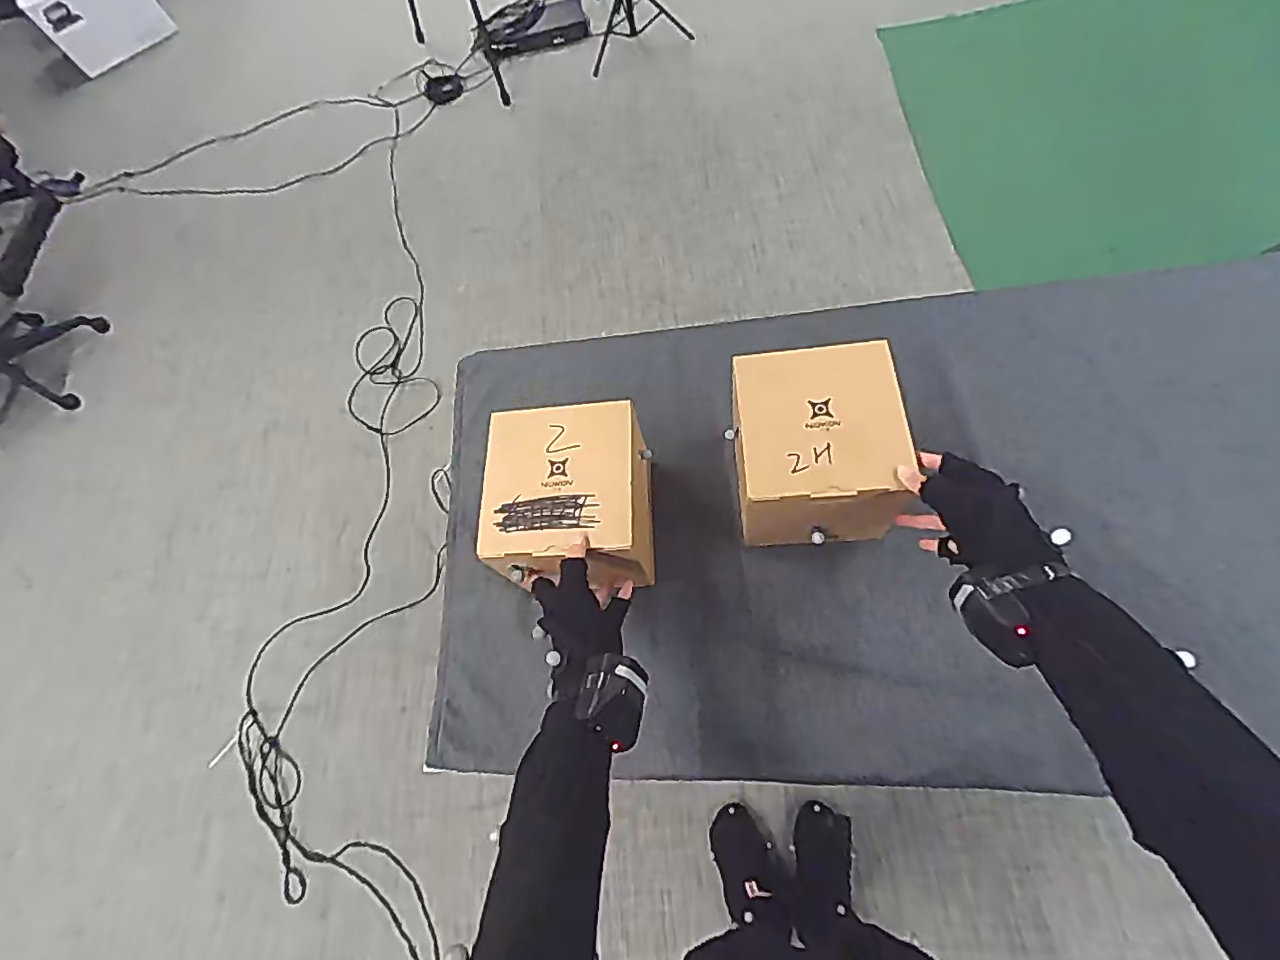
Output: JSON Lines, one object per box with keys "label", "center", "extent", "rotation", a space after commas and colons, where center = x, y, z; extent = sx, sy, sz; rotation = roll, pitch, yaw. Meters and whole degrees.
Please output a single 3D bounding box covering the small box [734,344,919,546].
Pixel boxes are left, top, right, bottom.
{"label": "small box", "center": [0.199, -0.032, 0.633], "extent": [0.168, 0.176, 0.179], "rotation": [-4, 67, 8]}
